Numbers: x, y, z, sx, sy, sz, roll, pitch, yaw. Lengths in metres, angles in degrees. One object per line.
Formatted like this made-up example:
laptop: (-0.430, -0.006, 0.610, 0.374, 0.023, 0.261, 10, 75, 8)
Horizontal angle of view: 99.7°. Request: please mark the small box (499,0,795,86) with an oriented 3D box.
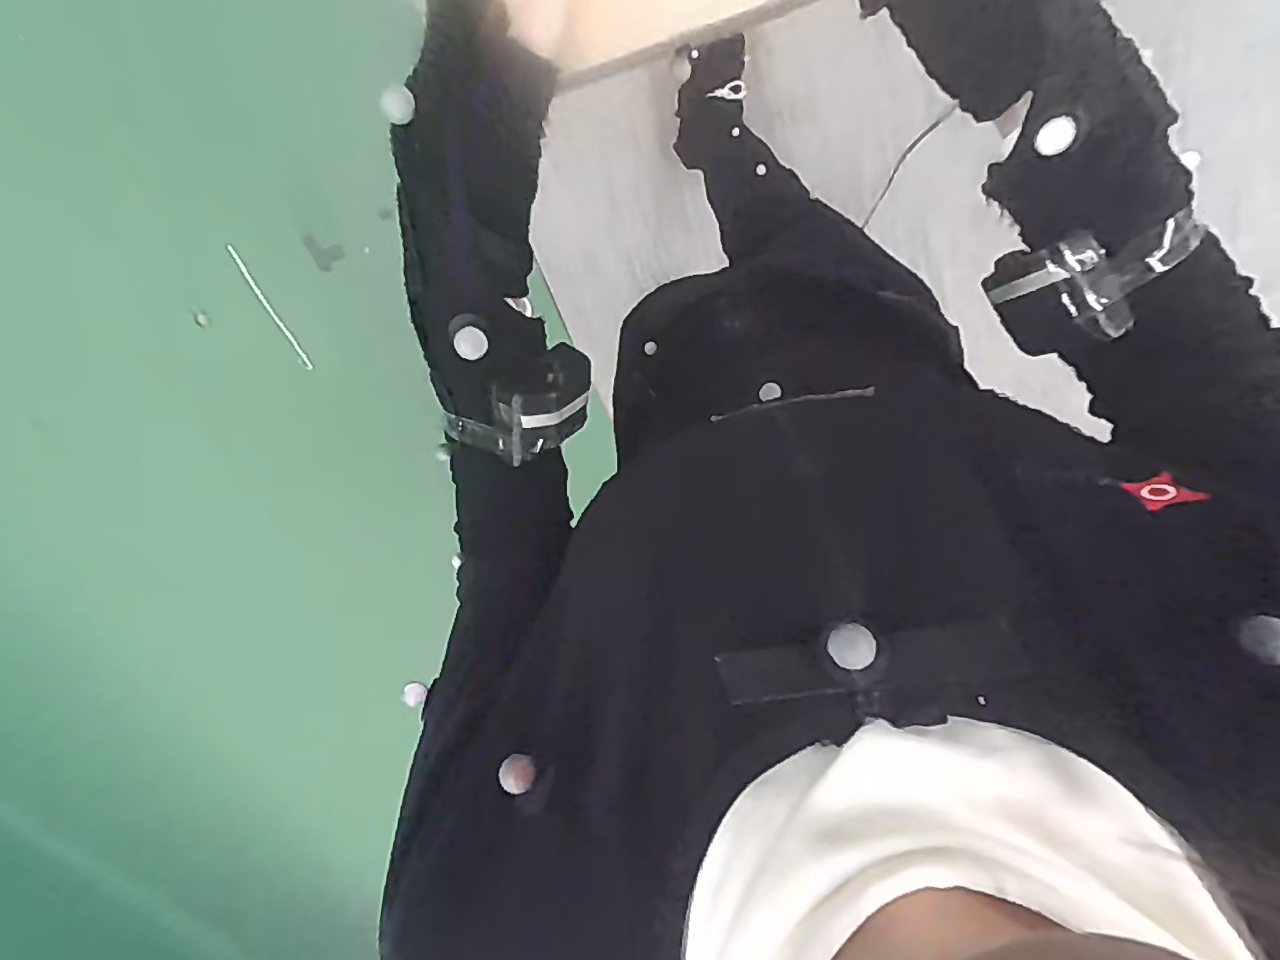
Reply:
small box: (-0.001, -0.316, 0.262, 0.179, 0.176, 0.168, -18, 123, 1)
